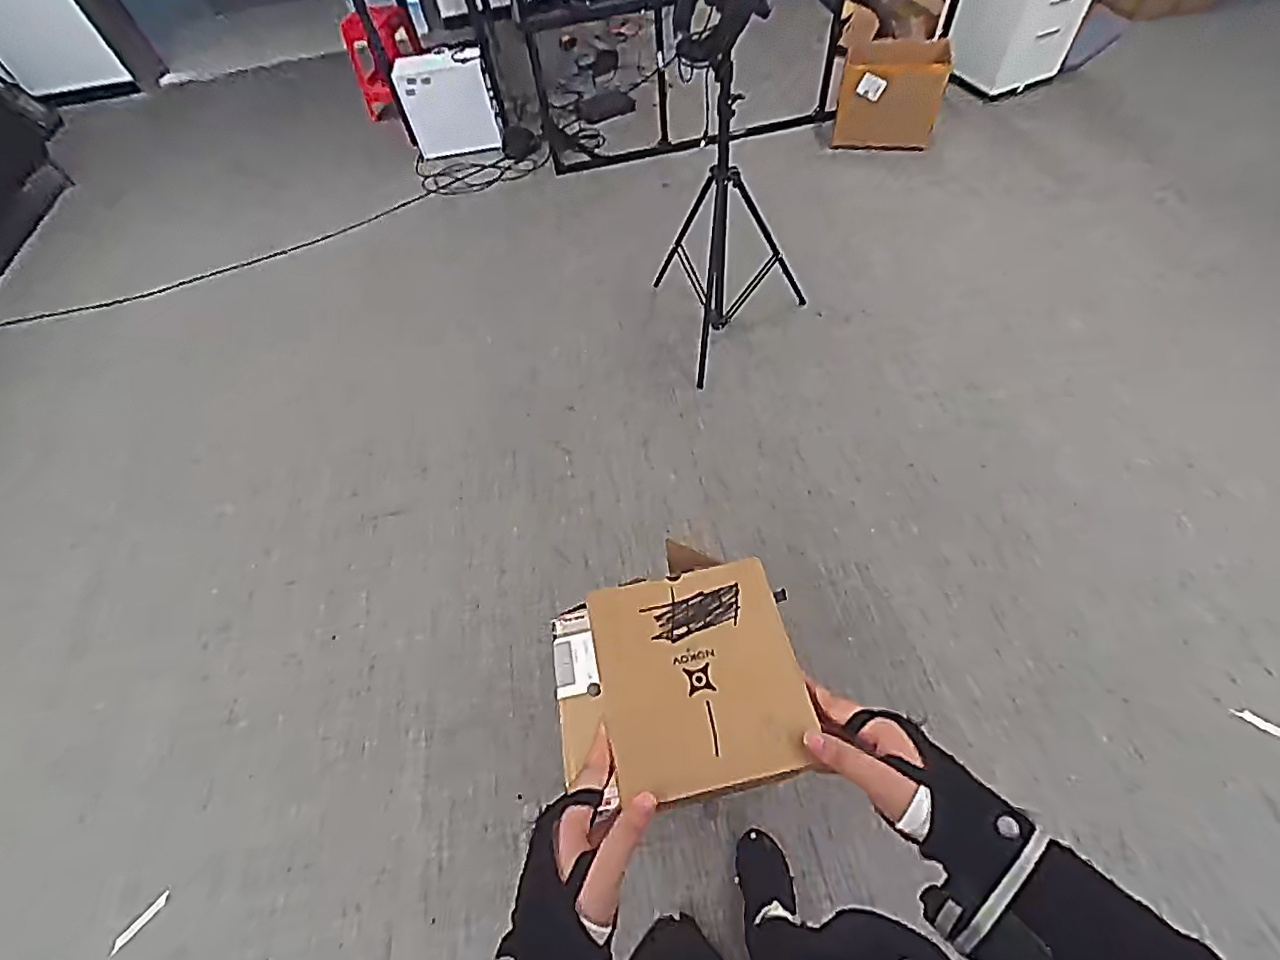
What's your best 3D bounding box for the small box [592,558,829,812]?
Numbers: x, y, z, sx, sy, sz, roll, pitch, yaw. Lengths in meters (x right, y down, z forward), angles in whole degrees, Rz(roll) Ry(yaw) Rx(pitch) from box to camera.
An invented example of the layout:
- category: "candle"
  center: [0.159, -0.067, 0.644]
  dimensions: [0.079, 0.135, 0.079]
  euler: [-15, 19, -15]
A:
- category: "small box"
  center: [0.051, 0.201, 0.519]
  dimensions: [0.168, 0.176, 0.179]
  euler: [-11, 58, -5]
